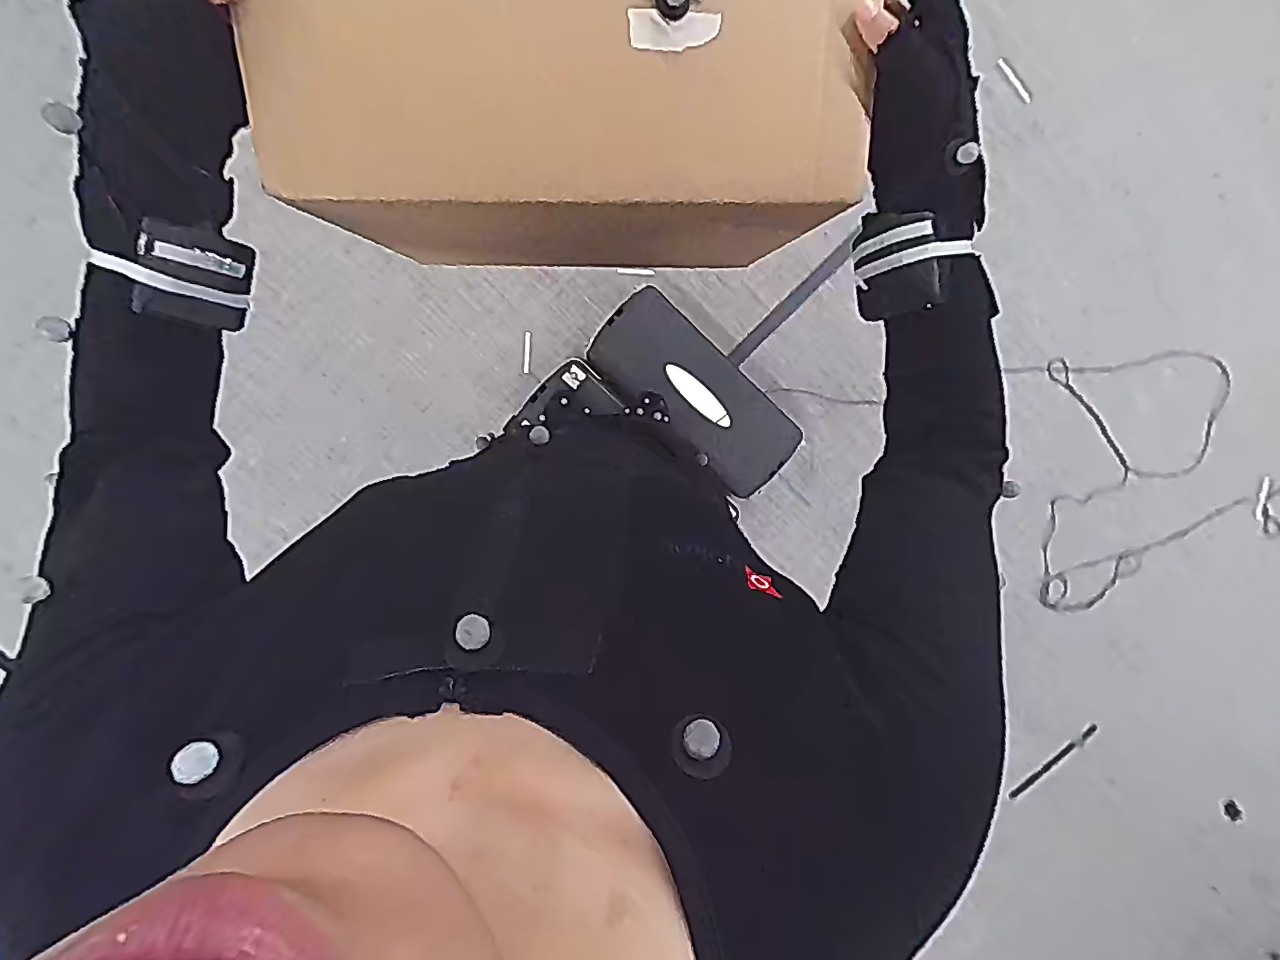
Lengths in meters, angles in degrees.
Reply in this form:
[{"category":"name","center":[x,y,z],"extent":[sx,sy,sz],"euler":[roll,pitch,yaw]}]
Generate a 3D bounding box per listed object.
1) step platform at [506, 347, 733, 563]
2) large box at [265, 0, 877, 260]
[{"category":"step platform","center":[-0.054,-0.068,1.575],"extent":[0.684,0.204,0.286],"euler":[41,95,-8]},{"category":"large box","center":[-0.051,-0.387,0.485],"extent":[0.408,0.320,0.320],"euler":[-1,105,-4]}]
